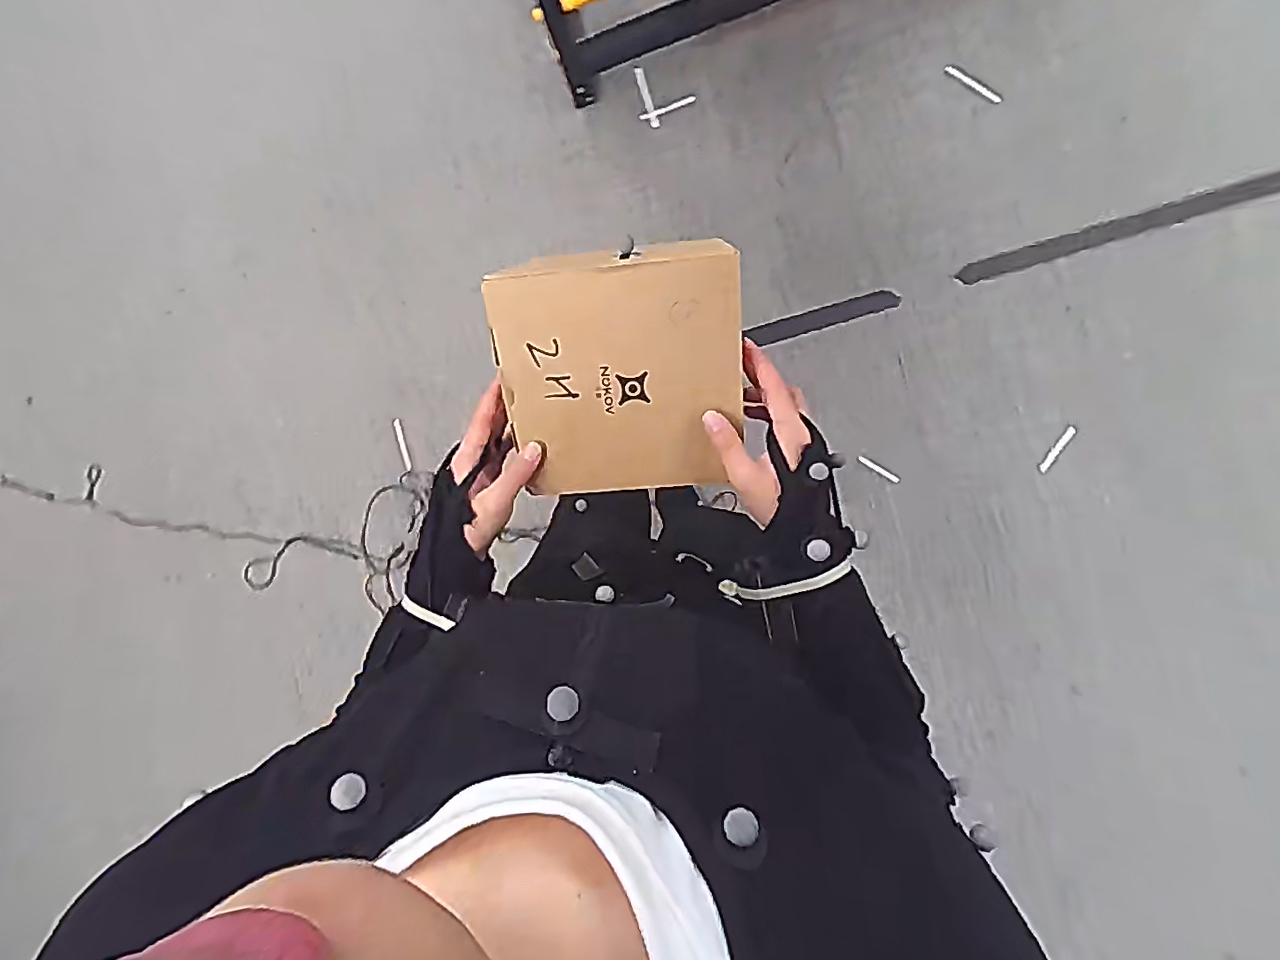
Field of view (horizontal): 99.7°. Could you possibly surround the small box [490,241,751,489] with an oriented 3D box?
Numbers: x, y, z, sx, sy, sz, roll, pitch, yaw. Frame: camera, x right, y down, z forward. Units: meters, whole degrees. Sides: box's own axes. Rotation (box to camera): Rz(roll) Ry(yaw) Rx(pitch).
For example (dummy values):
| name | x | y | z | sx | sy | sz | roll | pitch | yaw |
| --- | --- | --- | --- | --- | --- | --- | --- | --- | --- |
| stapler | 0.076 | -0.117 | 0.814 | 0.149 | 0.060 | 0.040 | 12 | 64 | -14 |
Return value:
| name | x | y | z | sx | sy | sz | roll | pitch | yaw |
| --- | --- | --- | --- | --- | --- | --- | --- | --- | --- |
| small box | -0.005 | -0.105 | 0.460 | 0.179 | 0.176 | 0.168 | -3 | 116 | 6 |
